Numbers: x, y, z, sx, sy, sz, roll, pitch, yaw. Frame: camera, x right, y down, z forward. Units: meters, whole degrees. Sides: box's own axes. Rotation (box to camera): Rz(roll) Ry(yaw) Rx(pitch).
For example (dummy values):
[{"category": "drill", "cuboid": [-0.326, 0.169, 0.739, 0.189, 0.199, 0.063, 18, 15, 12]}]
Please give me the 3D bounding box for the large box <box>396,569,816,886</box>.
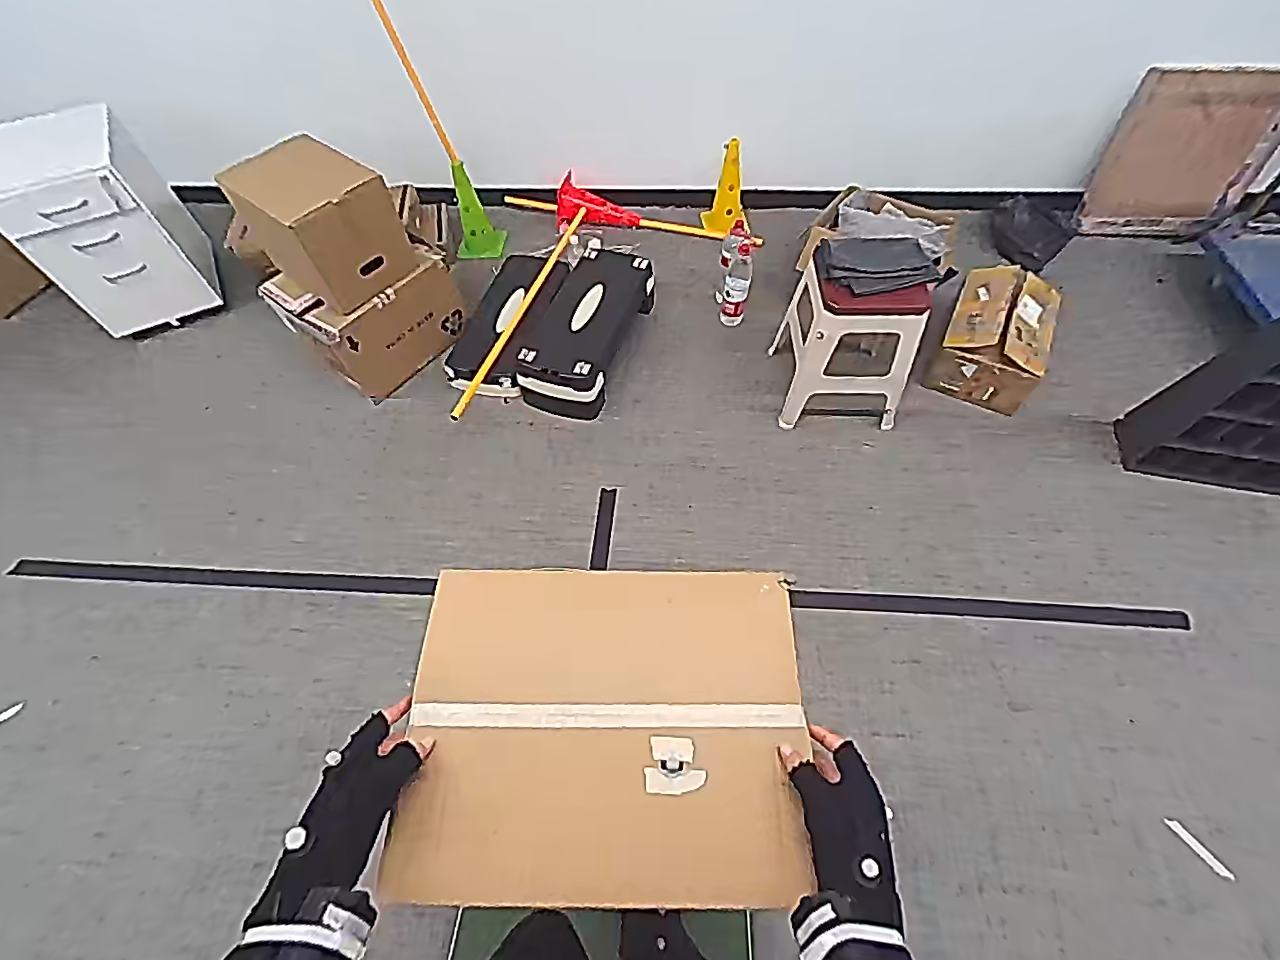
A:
[{"category": "large box", "cuboid": [-0.035, 0.318, 0.707, 0.408, 0.320, 0.320, 1, 60, 0]}]
